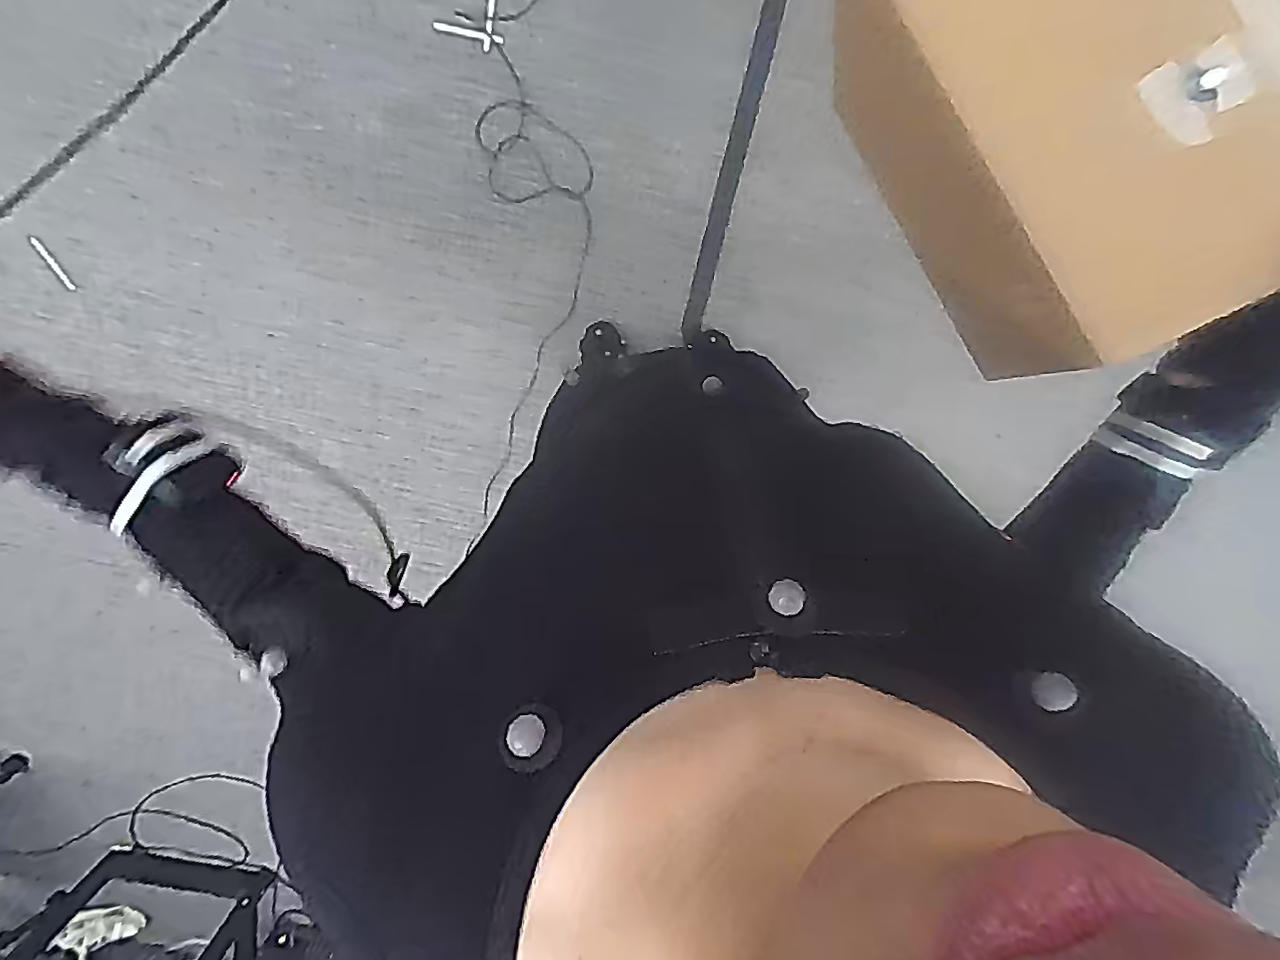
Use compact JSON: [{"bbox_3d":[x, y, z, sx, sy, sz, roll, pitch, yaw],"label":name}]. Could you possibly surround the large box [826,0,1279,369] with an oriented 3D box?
[{"bbox_3d":[0.407,-0.356,0.491,0.320,0.320,0.408,-30,88,21],"label":"large box"}]
